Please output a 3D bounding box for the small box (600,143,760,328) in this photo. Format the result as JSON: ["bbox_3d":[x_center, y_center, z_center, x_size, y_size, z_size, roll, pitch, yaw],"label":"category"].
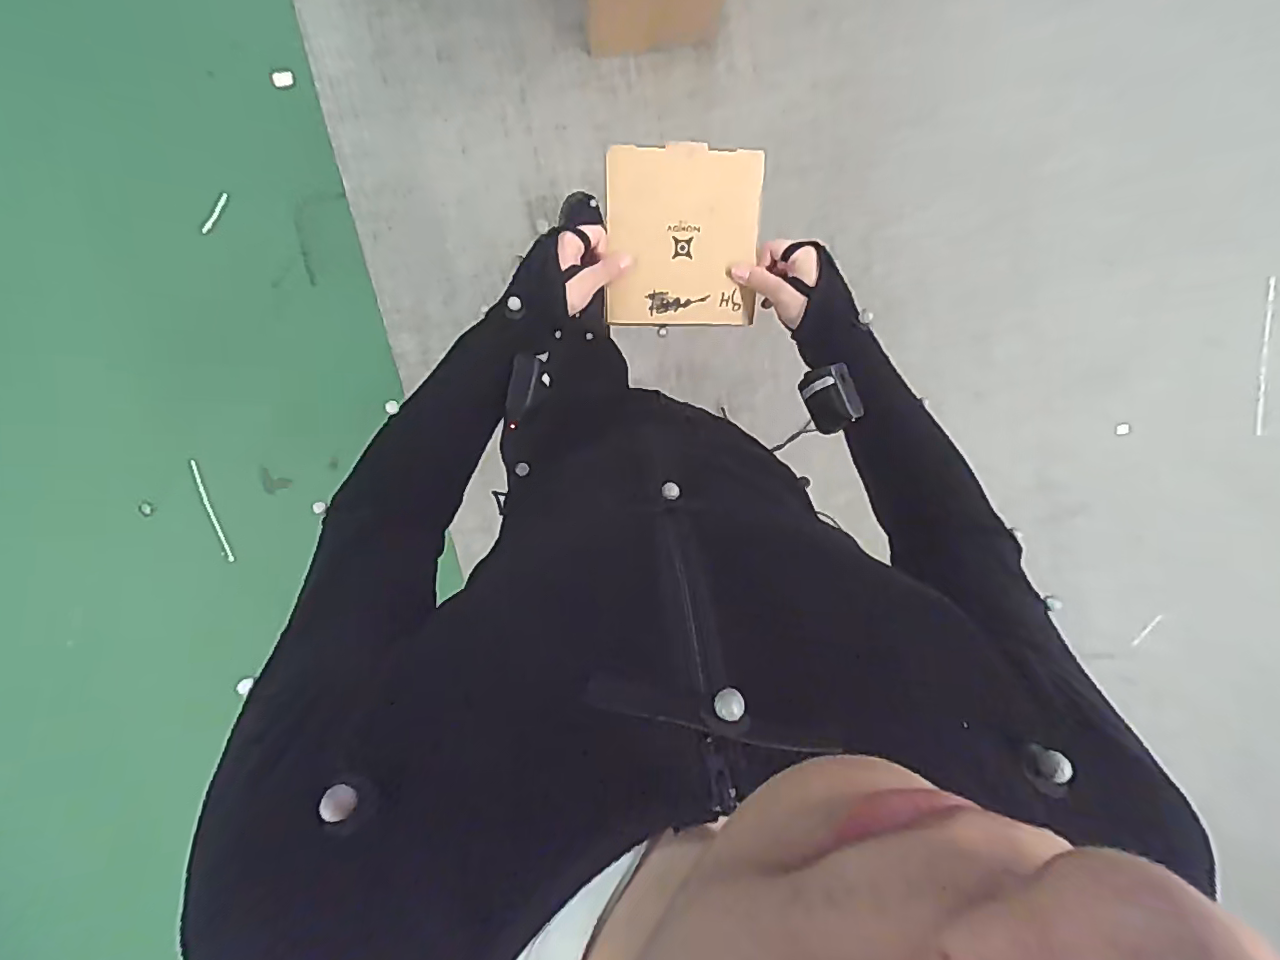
[{"bbox_3d":[0.036,-0.278,0.652,0.168,0.176,0.179,0,106,-4],"label":"small box"}]
